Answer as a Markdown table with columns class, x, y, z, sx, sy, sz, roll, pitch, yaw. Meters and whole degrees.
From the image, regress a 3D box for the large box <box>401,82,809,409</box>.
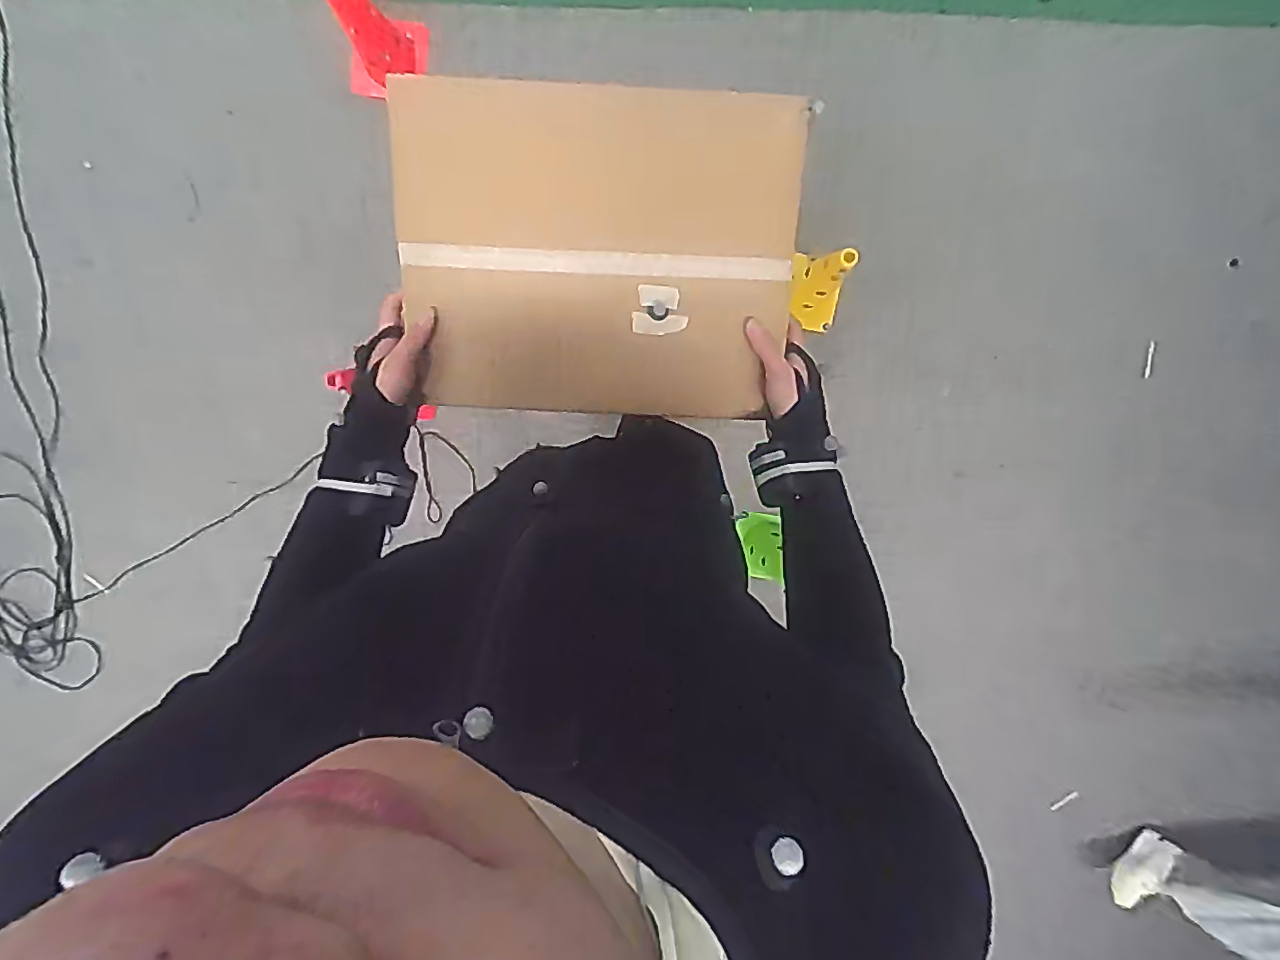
| class | x | y | z | sx | sy | sz | roll | pitch | yaw |
| --- | --- | --- | --- | --- | --- | --- | --- | --- | --- |
| large box | -0.040 | -0.272 | 0.706 | 0.408 | 0.320 | 0.320 | 2 | 108 | -1 |

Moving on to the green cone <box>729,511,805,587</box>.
| class | x | y | z | sx | sy | sz | roll | pitch | yaw |
| --- | --- | --- | --- | --- | --- | --- | --- | --- | --- |
| green cone | 0.383 | 0.224 | 1.480 | 0.200 | 0.368 | 0.202 | 8 | 97 | -1 |

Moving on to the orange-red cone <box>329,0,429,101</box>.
| class | x | y | z | sx | sy | sz | roll | pitch | yaw |
| --- | --- | --- | --- | --- | --- | --- | --- | --- | --- |
| orange-red cone | -0.684 | -1.117 | 1.293 | 0.199 | 0.360 | 0.198 | 10 | 97 | 1 |
